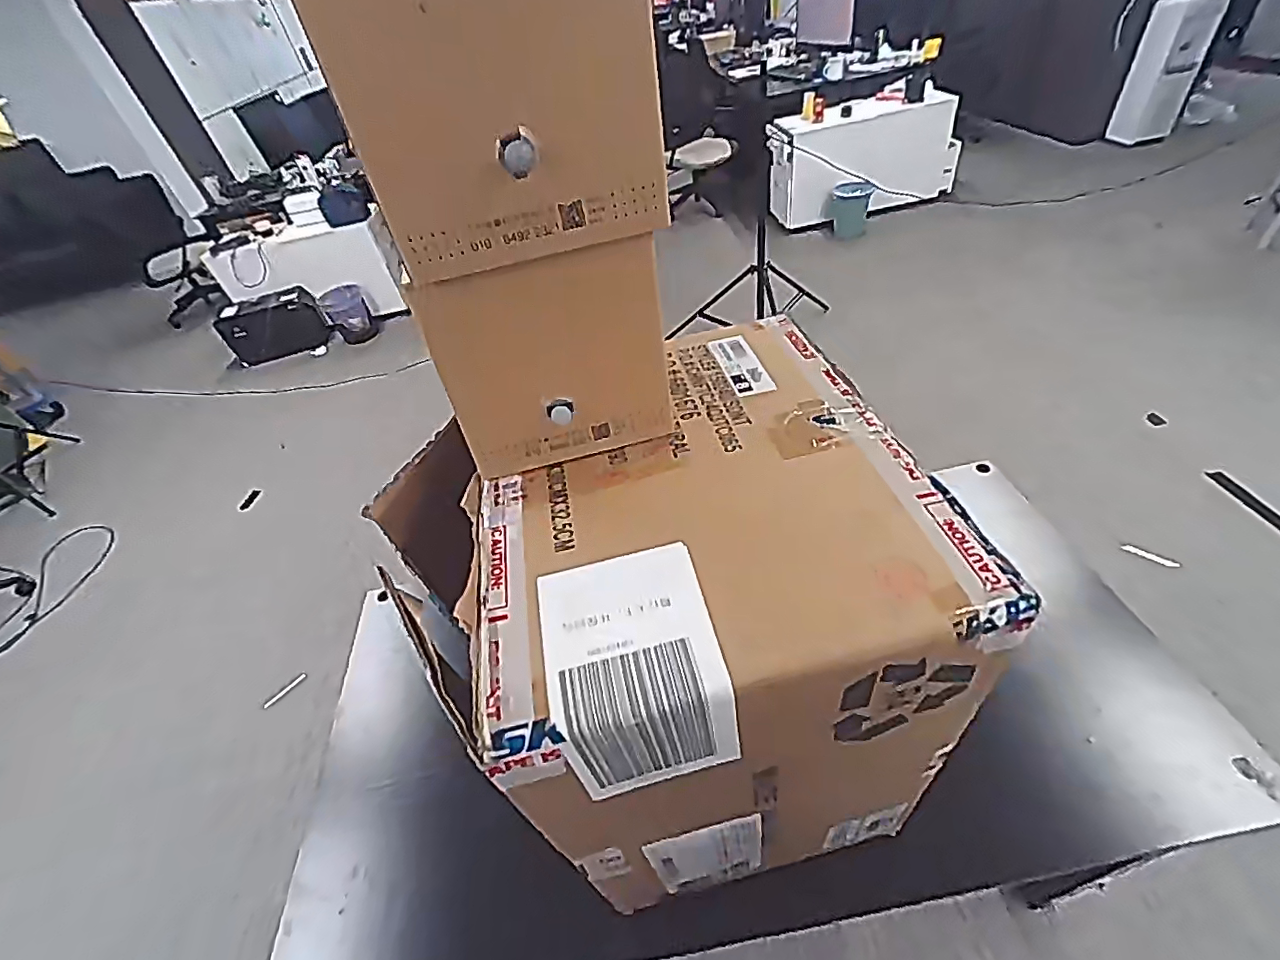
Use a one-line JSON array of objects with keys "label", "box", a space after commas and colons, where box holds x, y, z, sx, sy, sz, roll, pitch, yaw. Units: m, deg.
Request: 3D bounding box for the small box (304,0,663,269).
[{"label": "small box", "box": [-0.092, -0.253, 0.342, 0.168, 0.176, 0.179, -16, 42, -6]}]

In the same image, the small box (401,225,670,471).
[{"label": "small box", "box": [-0.078, -0.135, 0.457, 0.168, 0.176, 0.179, -14, 42, -5]}]
